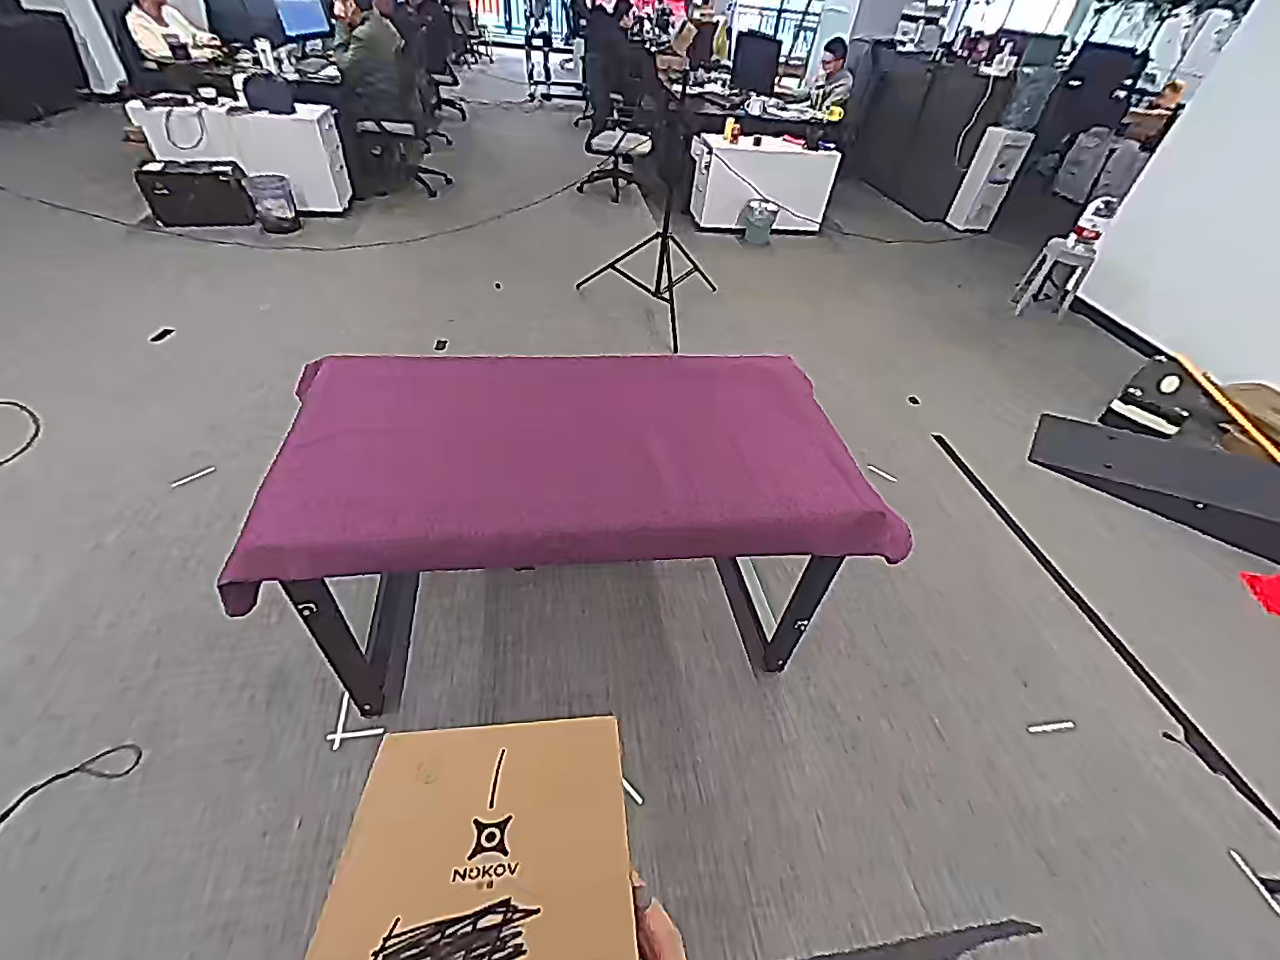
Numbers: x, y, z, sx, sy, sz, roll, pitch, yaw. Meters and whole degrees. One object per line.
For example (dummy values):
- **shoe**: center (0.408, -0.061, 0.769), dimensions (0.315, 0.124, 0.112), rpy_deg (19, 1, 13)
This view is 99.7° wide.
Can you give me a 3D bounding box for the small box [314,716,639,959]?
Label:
- **small box**: center (-0.087, 0.288, 0.351), dimensions (0.168, 0.176, 0.179), rpy_deg (-2, 27, -6)
